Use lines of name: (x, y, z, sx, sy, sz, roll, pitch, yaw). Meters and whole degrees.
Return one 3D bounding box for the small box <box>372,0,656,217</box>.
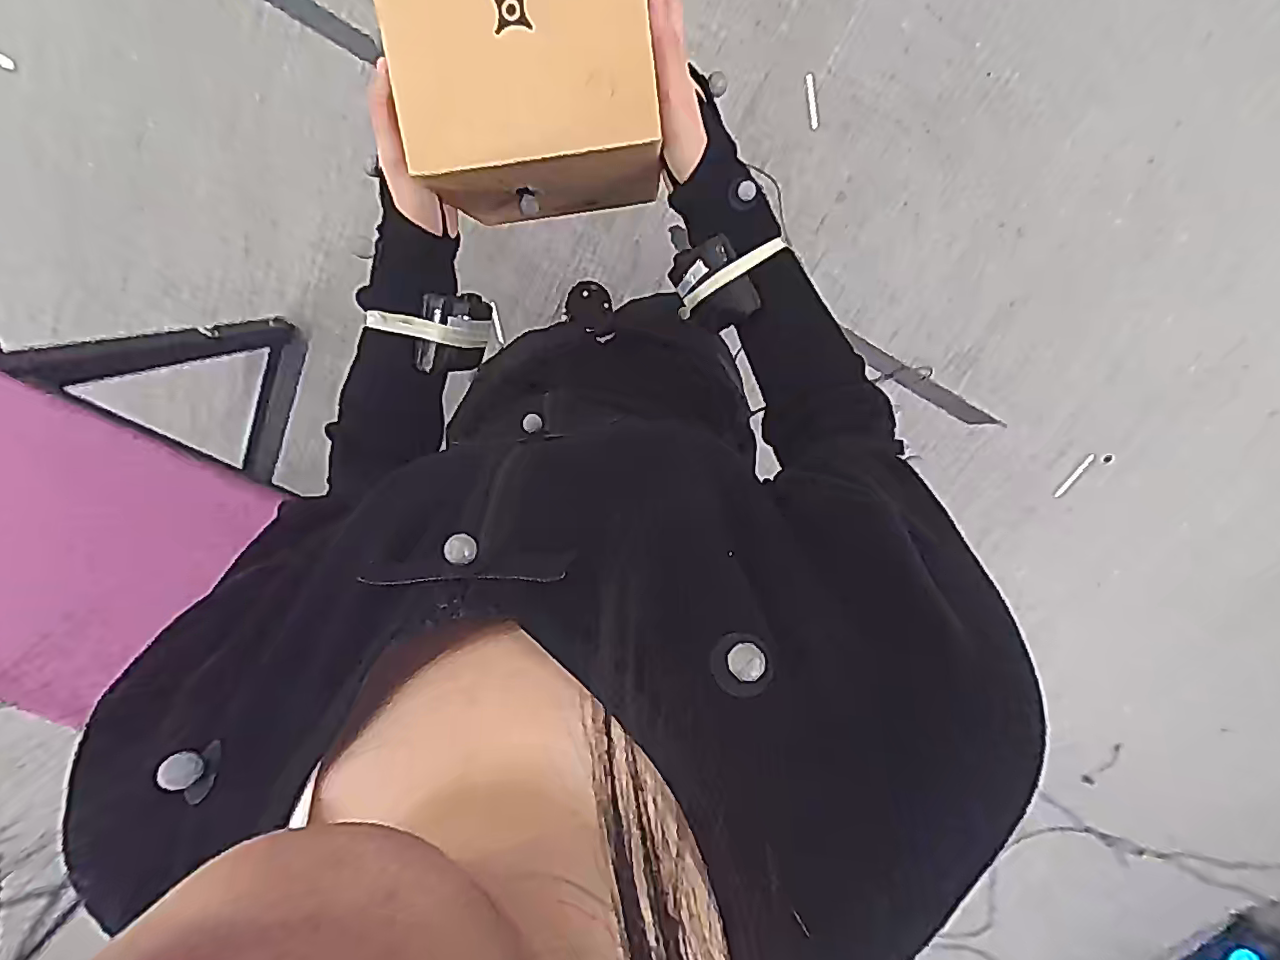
small box: (-0.077, -0.308, 0.402, 0.168, 0.176, 0.179, -6, 104, 3)
